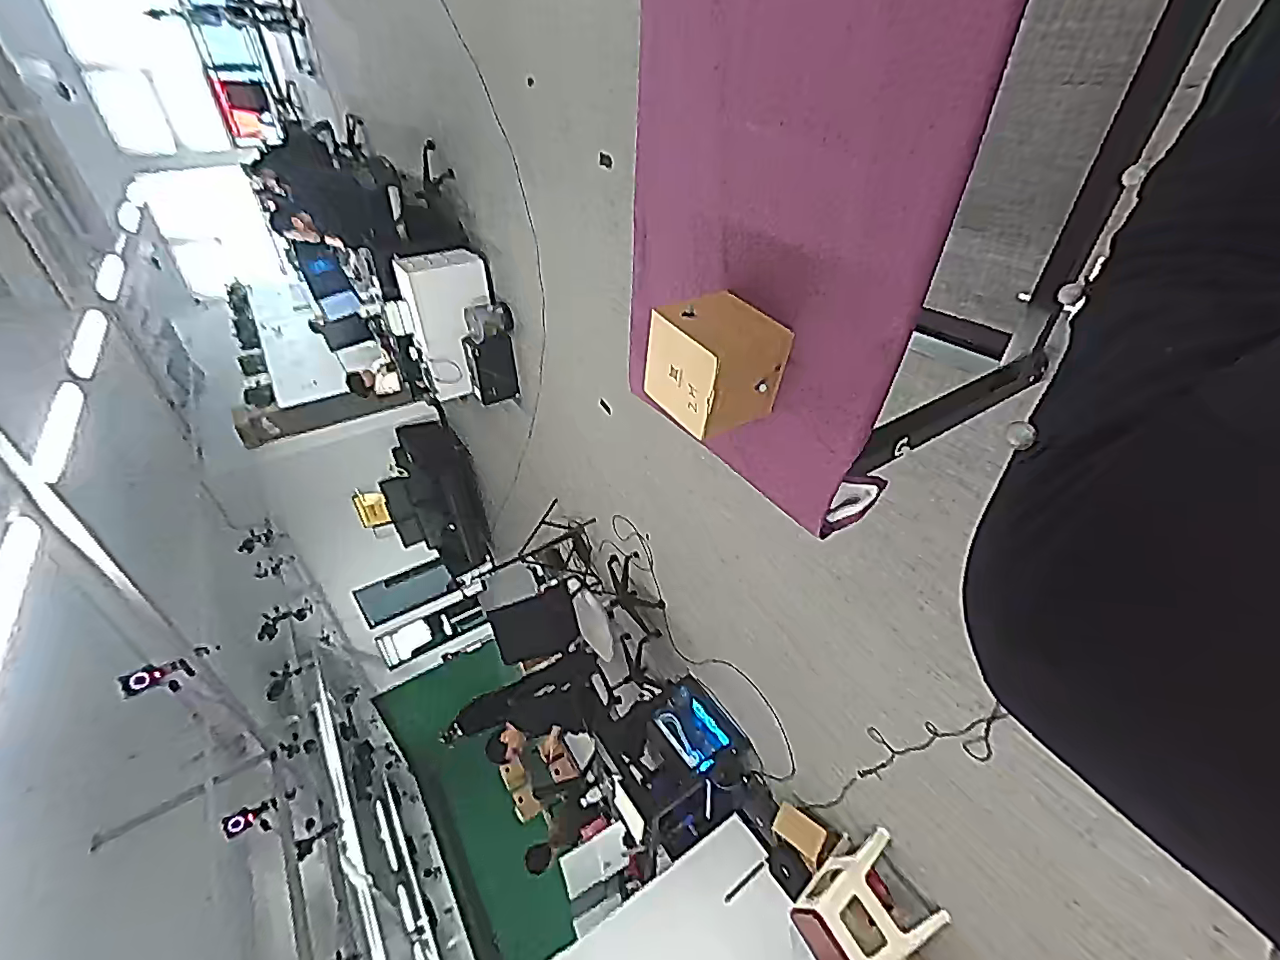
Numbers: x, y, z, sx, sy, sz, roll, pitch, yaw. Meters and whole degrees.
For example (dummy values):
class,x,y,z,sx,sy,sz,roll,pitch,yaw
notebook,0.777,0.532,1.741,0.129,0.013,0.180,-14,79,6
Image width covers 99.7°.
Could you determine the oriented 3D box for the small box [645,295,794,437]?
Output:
class,x,y,z,sx,sy,sz,roll,pitch,yaw
small box,0.132,-0.206,0.941,0.179,0.176,0.168,47,147,34
